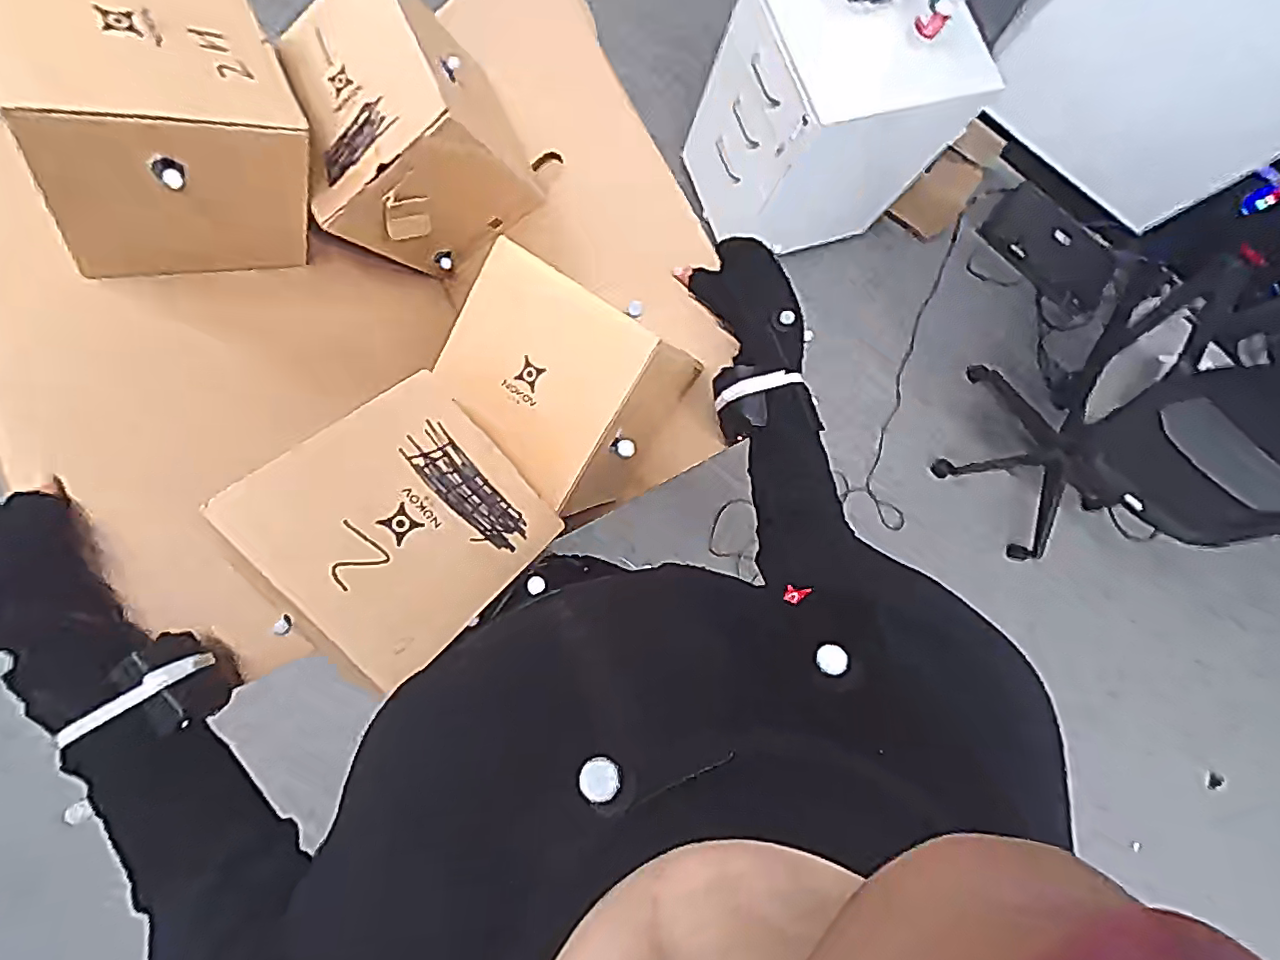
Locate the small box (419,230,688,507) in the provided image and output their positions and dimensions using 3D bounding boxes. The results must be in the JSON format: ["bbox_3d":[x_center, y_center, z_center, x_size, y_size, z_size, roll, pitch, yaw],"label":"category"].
[{"bbox_3d":[-0.068,-0.100,0.526,0.168,0.176,0.179,35,106,11],"label":"small box"}]
